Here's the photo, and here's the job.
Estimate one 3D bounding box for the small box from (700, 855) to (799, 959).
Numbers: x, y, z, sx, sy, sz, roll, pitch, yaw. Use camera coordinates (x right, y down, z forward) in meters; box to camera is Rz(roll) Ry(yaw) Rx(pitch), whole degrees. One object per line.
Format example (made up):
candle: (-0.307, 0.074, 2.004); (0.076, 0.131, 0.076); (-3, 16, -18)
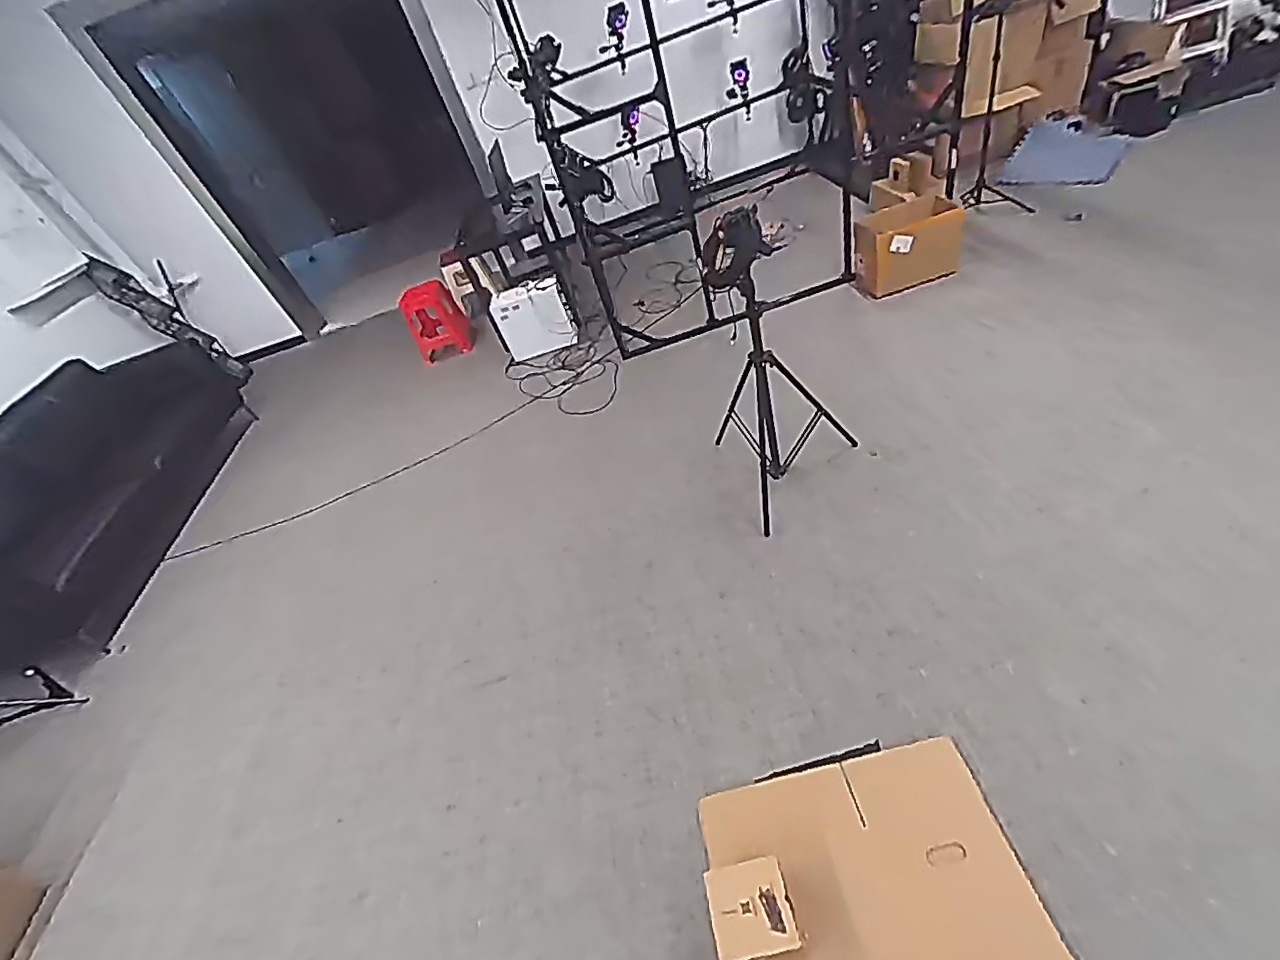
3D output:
small box: (0.251, 0.977, 1.219); (0.179, 0.176, 0.168); (-18, 41, 6)
